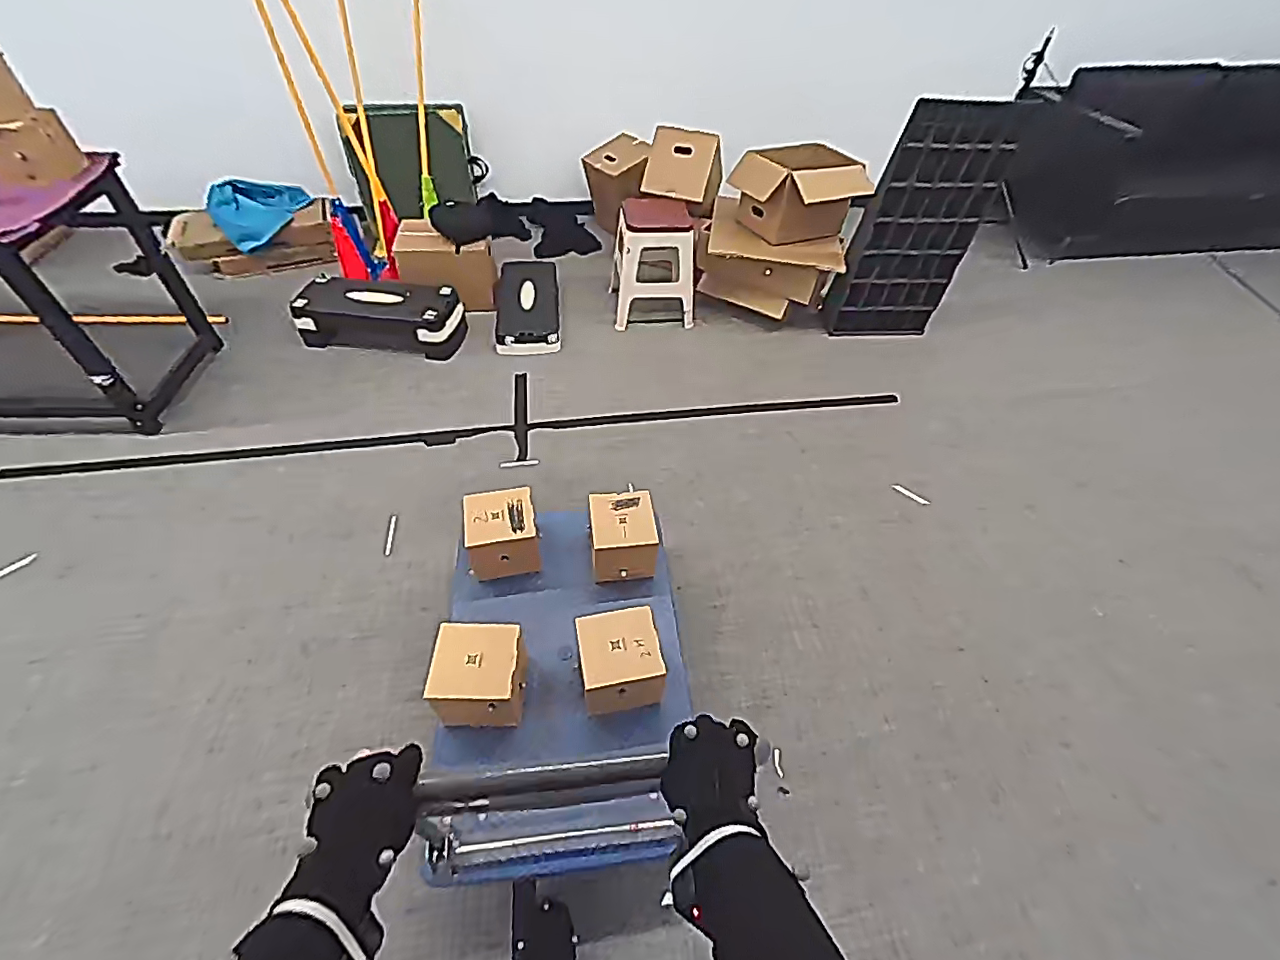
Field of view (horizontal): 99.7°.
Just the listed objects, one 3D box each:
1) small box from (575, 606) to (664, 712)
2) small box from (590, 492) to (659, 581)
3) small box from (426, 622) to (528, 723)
[{"bbox_3d":[-0.049,0.413,1.243,0.179,0.176,0.168,-7,50,-10],"label":"small box"},{"bbox_3d":[-0.049,0.154,1.471,0.168,0.176,0.179,-4,50,-7],"label":"small box"},{"bbox_3d":[-0.354,0.432,1.207,0.179,0.176,0.168,2,48,-4],"label":"small box"}]
